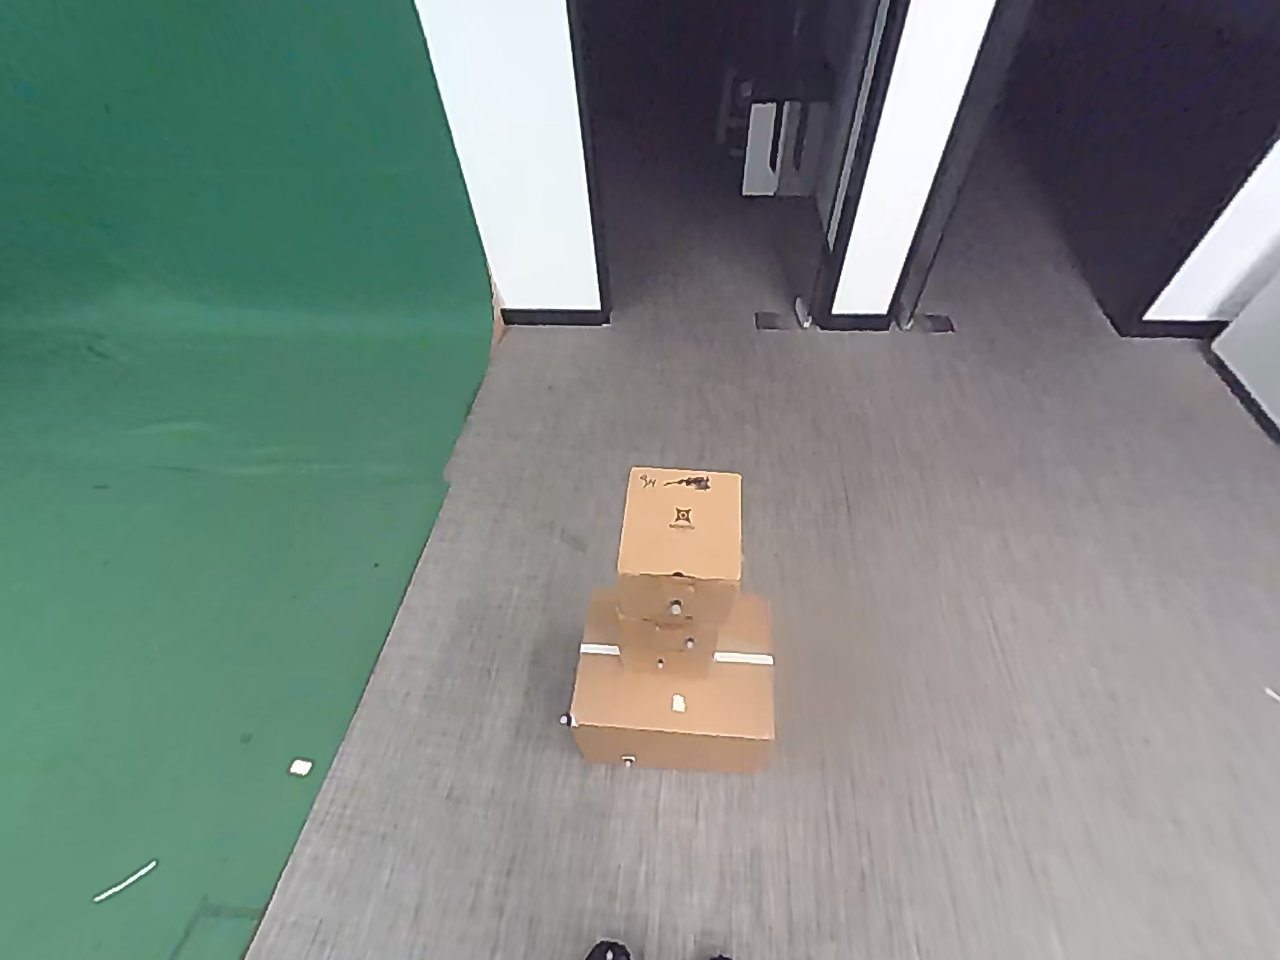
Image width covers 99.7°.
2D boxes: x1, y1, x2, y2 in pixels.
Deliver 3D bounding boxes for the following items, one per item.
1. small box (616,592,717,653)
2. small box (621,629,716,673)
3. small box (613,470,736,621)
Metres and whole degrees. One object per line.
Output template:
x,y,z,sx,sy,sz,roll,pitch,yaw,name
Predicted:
0.054,0.198,0.967,0.168,0.176,0.179,3,56,5,small box
0.061,0.288,1.100,0.179,0.176,0.168,2,57,5,small box
0.057,0.106,0.831,0.168,0.176,0.179,4,57,5,small box
